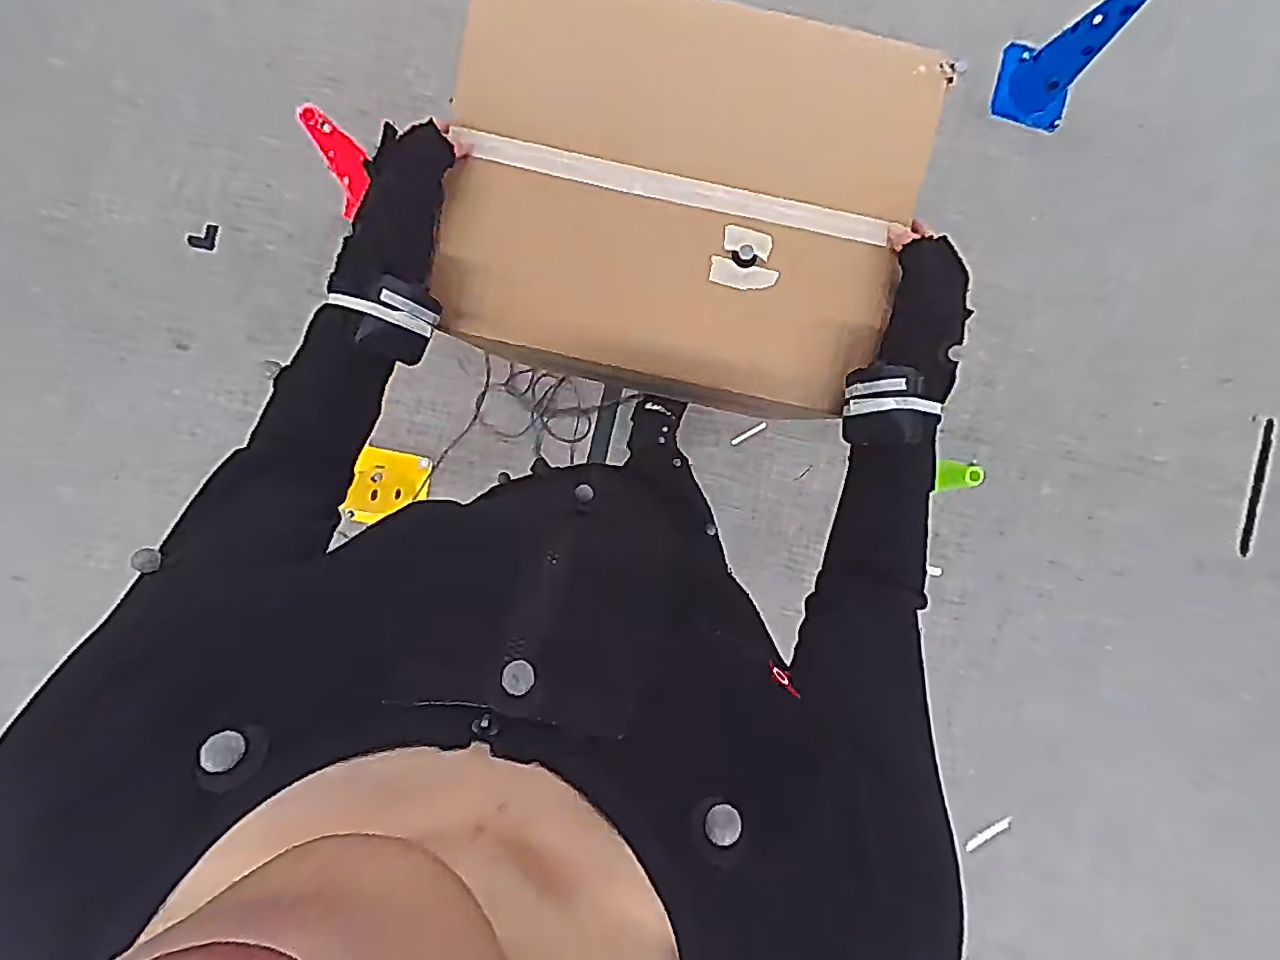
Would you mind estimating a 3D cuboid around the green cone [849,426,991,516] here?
[{"bbox_3d":[0.702,-0.019,1.309,0.202,0.368,0.200,-25,93,-3],"label":"green cone"}]

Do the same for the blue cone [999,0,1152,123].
[{"bbox_3d":[1.092,-1.082,1.314,0.192,0.380,0.193,16,91,-4],"label":"blue cone"}]

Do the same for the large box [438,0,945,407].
[{"bbox_3d":[0.037,-0.276,0.619,0.408,0.320,0.320,12,96,-2],"label":"large box"}]
